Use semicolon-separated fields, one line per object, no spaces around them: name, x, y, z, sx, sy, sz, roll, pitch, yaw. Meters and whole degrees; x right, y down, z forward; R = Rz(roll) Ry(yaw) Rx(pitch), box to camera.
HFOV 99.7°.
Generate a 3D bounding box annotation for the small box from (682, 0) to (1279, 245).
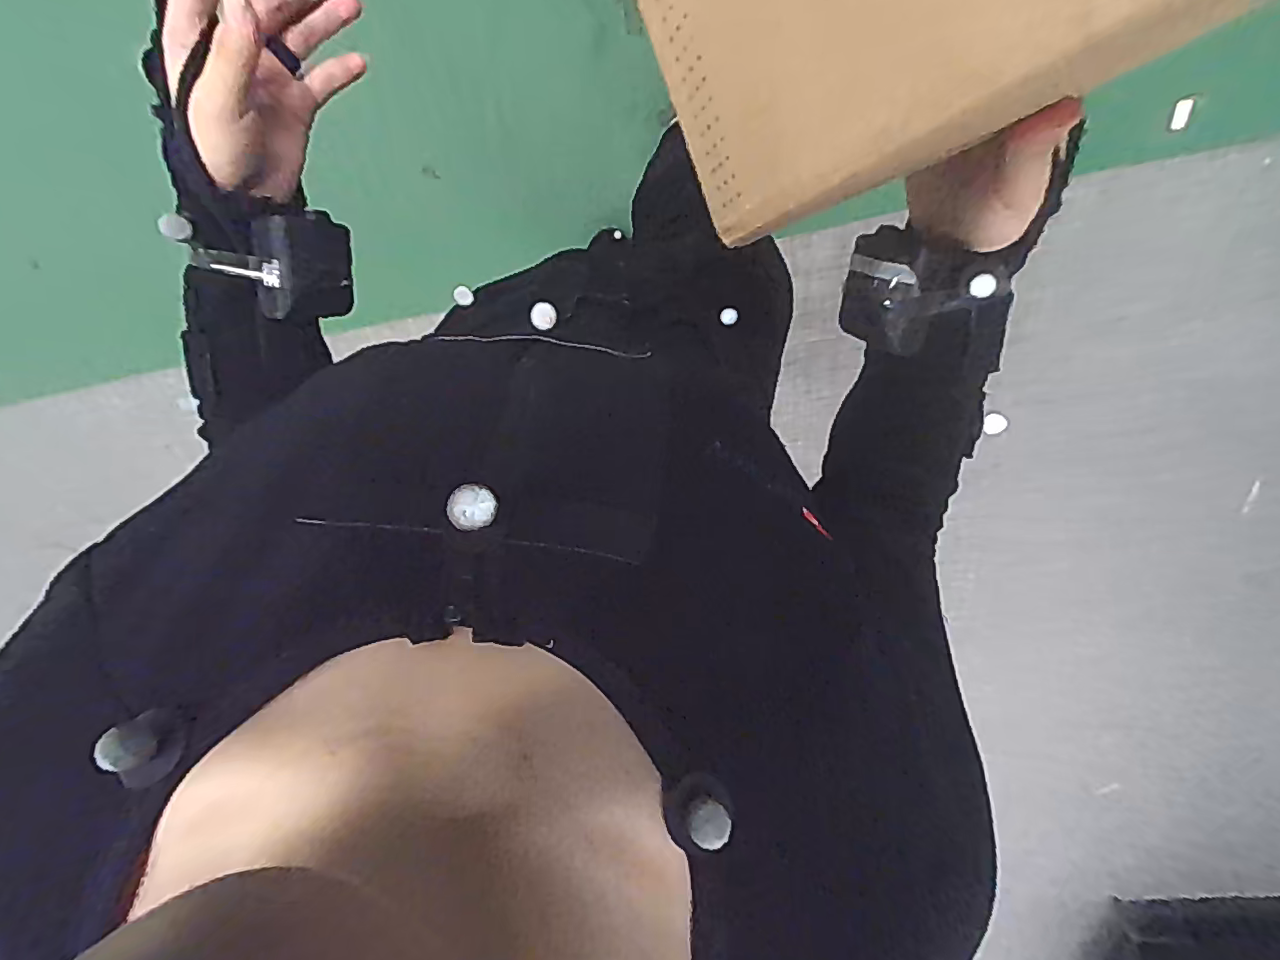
small box;0.106;-0.192;0.143;0.168;0.176;0.179;-26;106;-7
